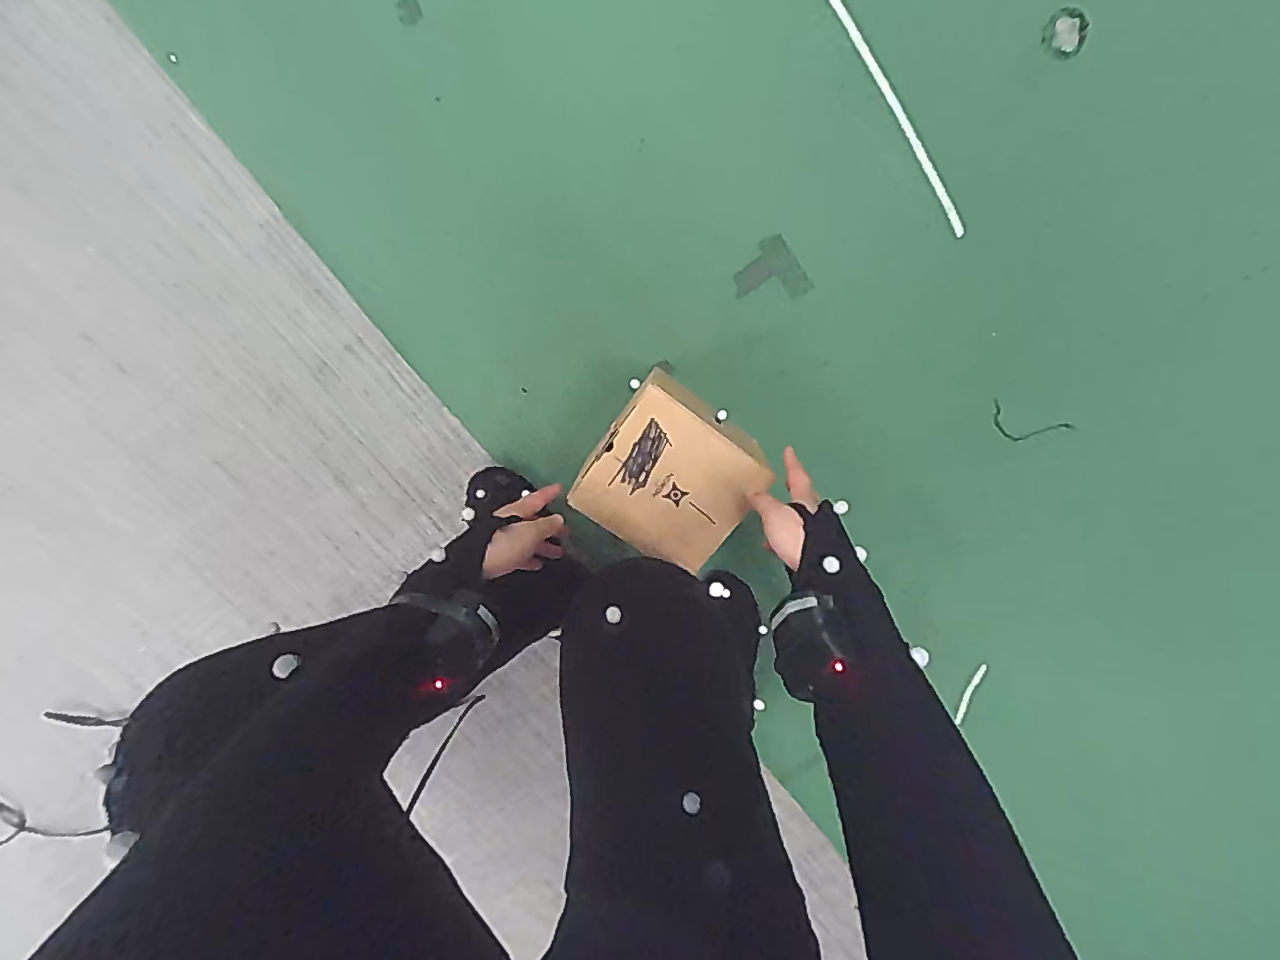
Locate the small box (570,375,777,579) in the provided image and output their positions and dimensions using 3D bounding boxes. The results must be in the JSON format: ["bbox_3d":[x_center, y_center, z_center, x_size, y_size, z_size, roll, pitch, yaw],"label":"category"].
[{"bbox_3d":[0.039,-0.016,0.677,0.179,0.176,0.168,35,107,-9],"label":"small box"}]
